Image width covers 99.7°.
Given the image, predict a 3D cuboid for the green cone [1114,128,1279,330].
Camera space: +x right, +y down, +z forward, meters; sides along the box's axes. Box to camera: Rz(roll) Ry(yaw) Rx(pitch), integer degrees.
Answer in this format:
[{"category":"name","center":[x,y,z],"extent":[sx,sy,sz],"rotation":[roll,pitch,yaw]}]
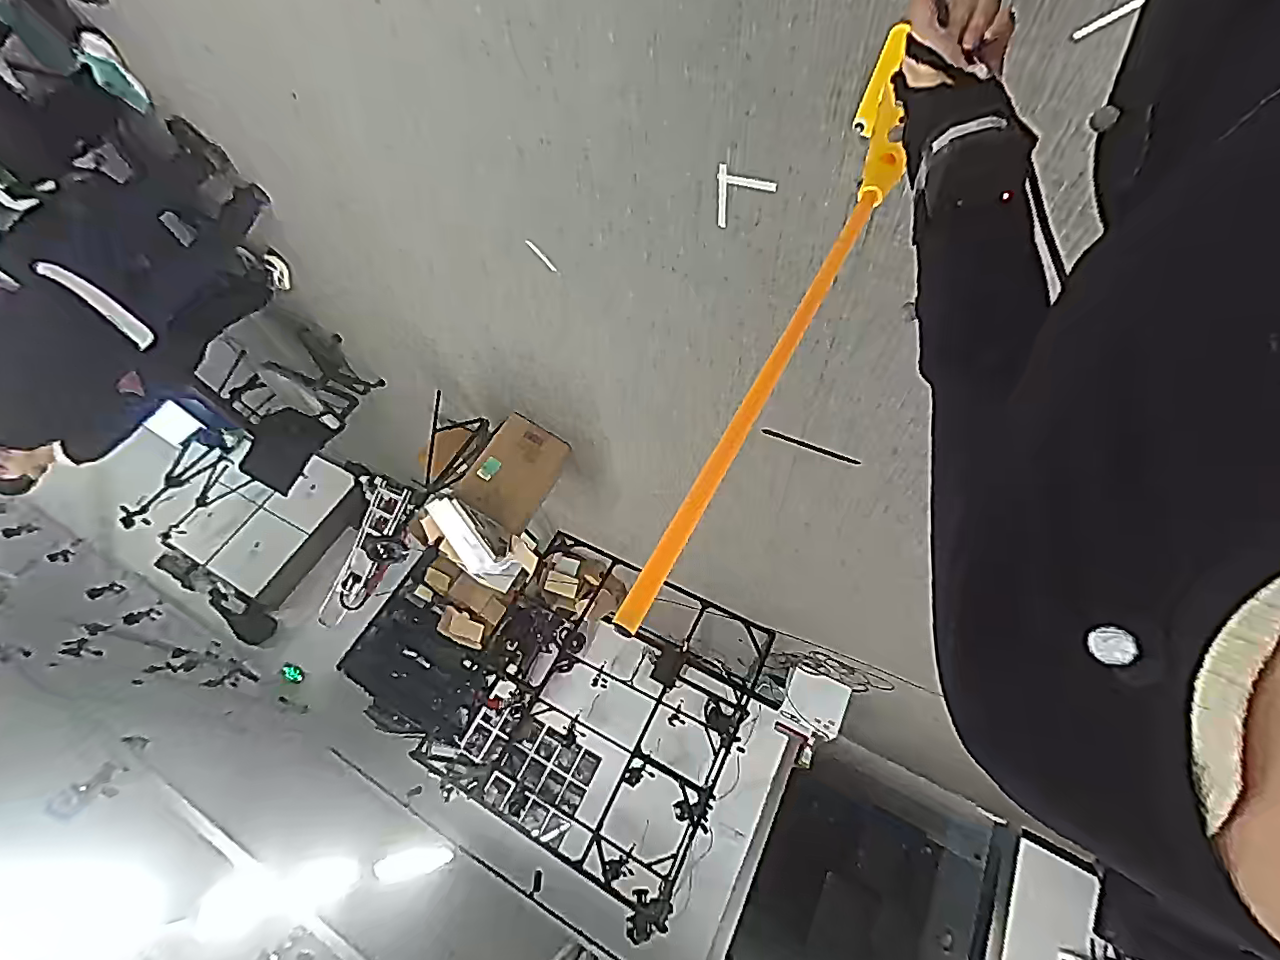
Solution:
[{"category":"green cone","center":[0.912,-0.384,0.889],"extent":[0.202,0.368,0.200],"rotation":[18,152,30]}]
